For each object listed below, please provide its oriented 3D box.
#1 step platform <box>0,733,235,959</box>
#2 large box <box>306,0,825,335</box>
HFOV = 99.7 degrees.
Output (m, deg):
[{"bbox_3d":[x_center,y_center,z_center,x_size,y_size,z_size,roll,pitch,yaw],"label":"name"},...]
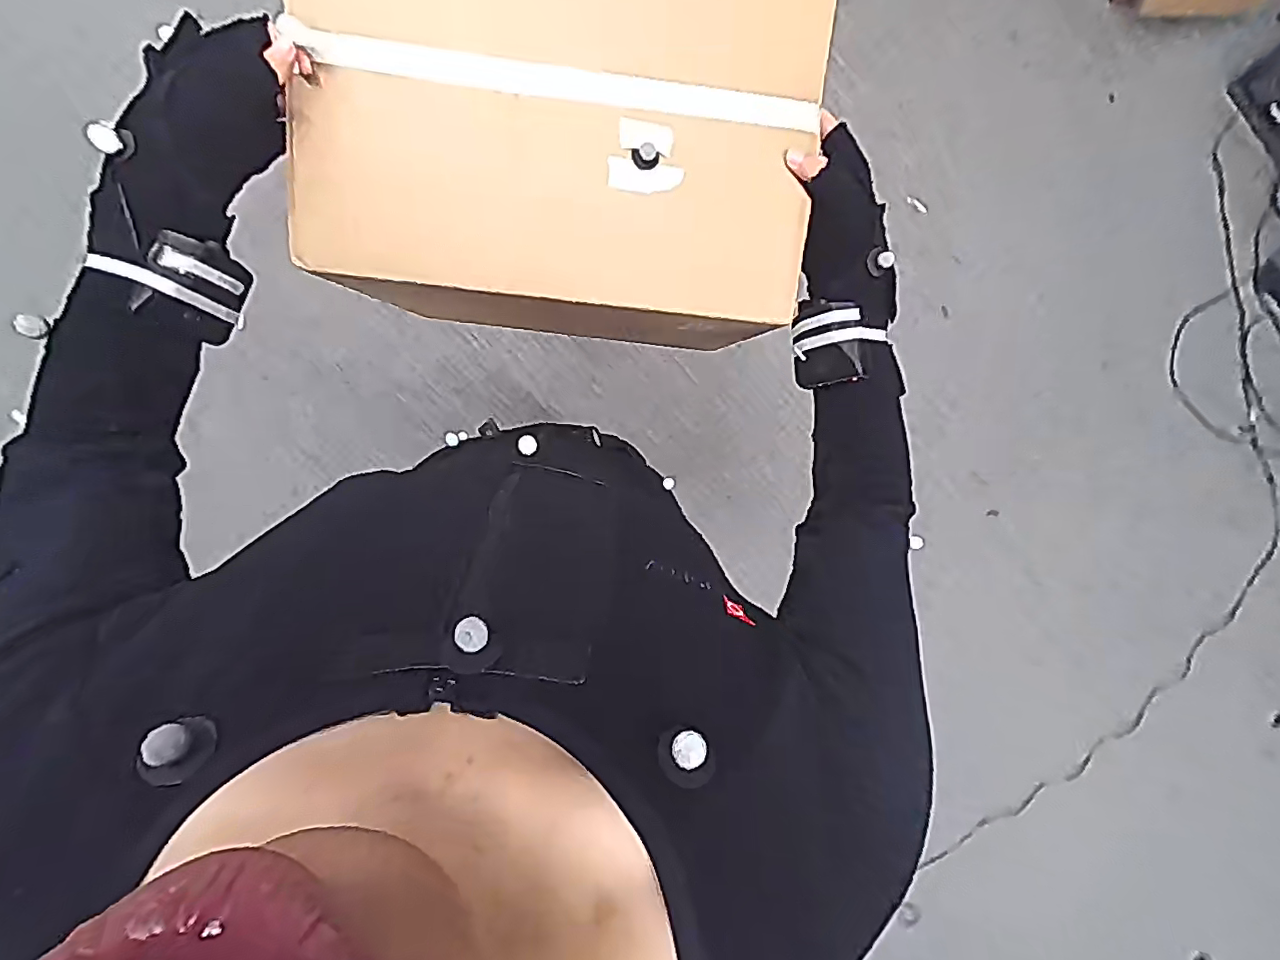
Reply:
[{"bbox_3d":[-1.396,0.972,1.335,0.684,0.204,0.286,45,89,-5],"label":"step platform"},{"bbox_3d":[-0.068,-0.339,0.572,0.408,0.320,0.320,4,100,-5],"label":"large box"}]
